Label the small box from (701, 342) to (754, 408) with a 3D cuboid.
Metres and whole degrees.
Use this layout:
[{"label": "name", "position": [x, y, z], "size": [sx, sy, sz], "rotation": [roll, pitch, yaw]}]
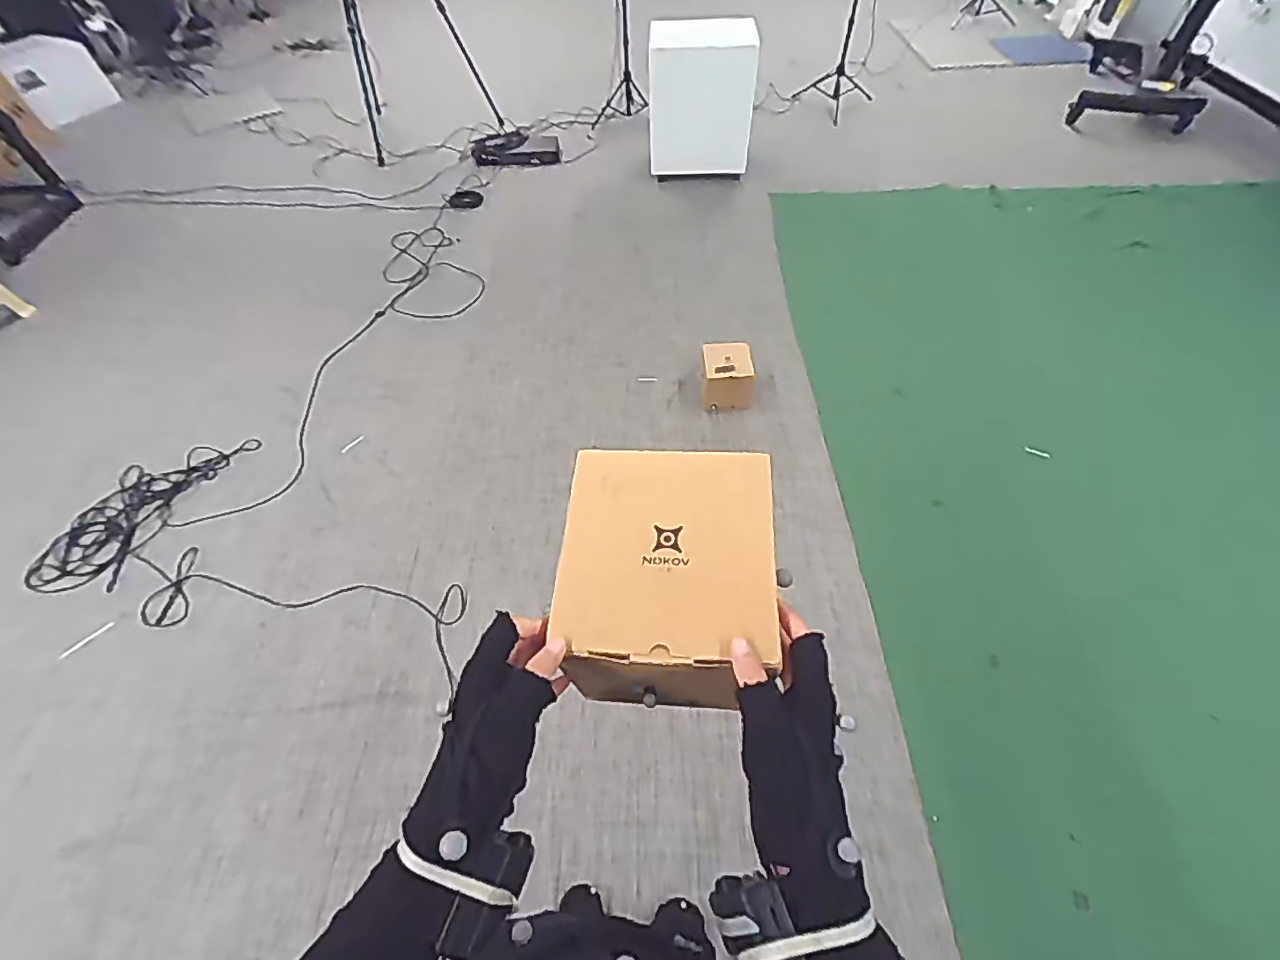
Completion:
[{"label": "small box", "position": [0.310, -0.374, 1.951], "size": [0.168, 0.176, 0.179], "rotation": [-2, 54, 1]}]
